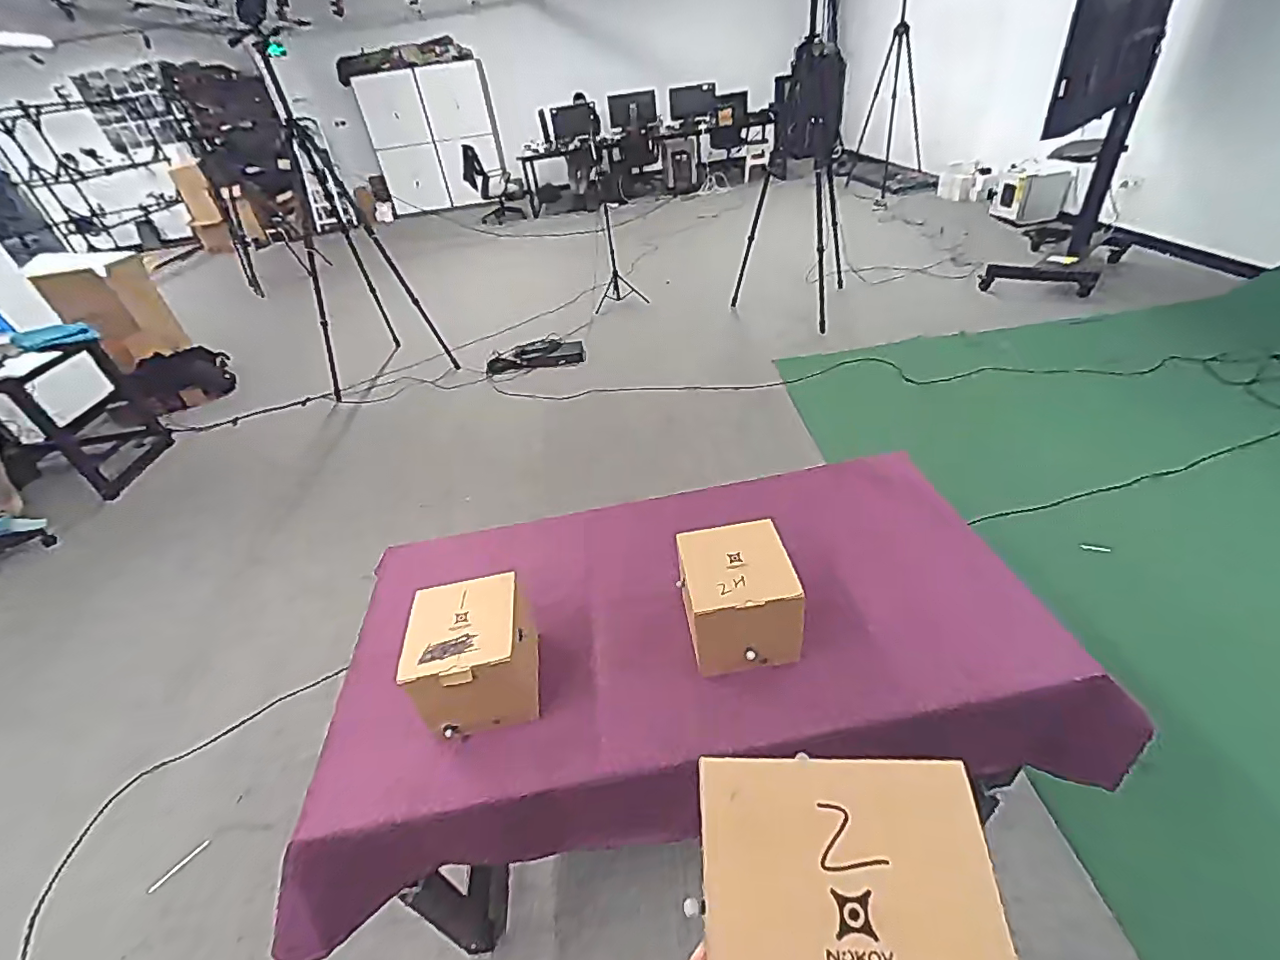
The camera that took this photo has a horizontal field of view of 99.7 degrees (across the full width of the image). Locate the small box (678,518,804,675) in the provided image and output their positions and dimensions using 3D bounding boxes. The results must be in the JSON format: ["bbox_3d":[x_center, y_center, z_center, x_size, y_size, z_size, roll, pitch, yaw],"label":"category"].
[{"bbox_3d":[0.161,0.192,0.899,0.168,0.176,0.179,-10,37,0],"label":"small box"}]

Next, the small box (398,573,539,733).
[{"bbox_3d":[-0.262,0.284,0.874,0.168,0.176,0.179,-11,36,-3],"label":"small box"}]
